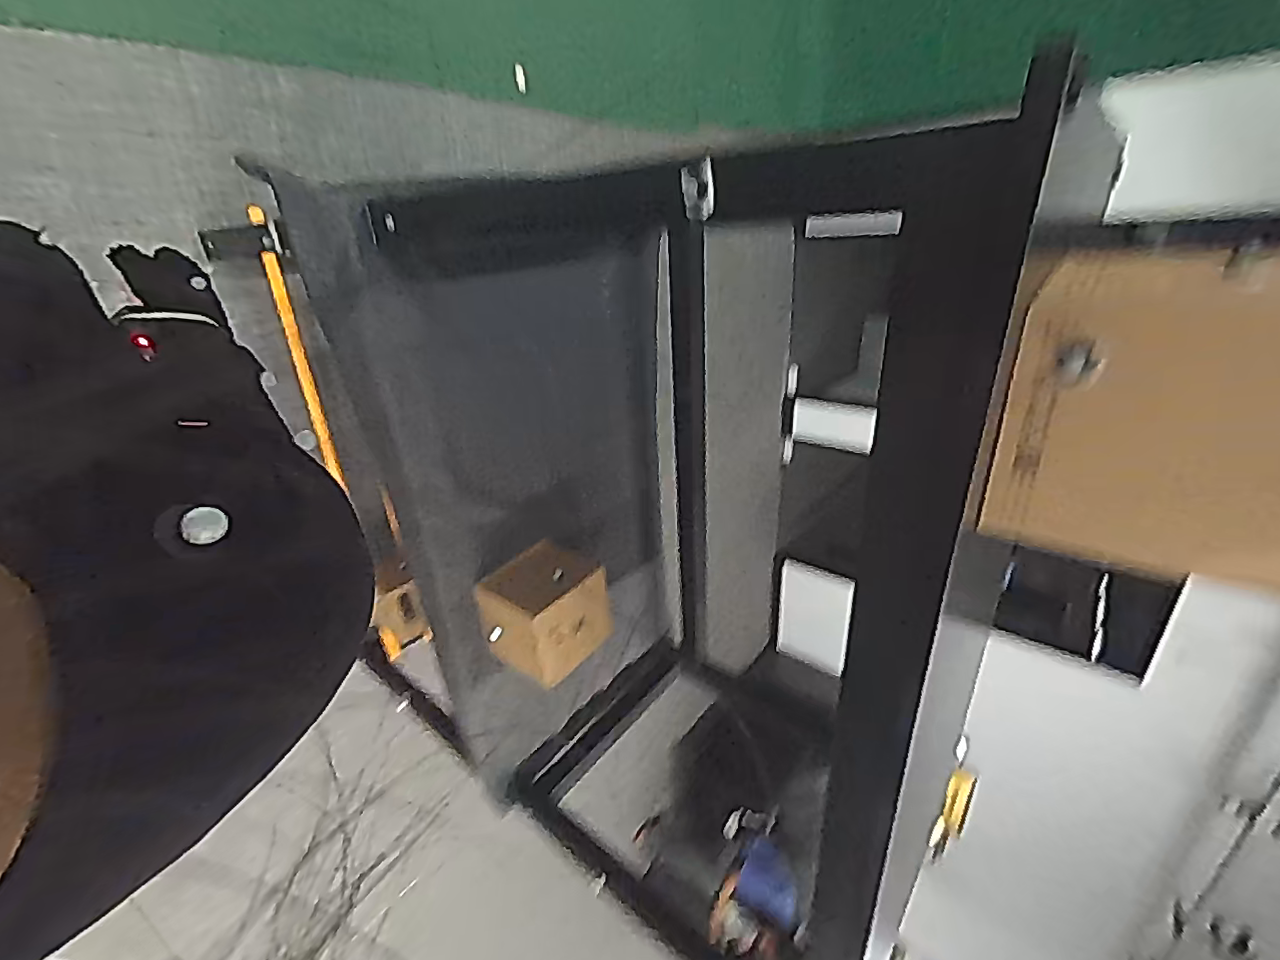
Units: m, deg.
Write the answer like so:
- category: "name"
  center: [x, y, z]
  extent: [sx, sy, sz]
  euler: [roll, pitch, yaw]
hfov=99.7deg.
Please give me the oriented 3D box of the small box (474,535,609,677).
- category: "small box"
  center: [-0.183, 0.227, 1.028]
  extent: [0.179, 0.176, 0.168]
  euler: [-33, 127, -42]

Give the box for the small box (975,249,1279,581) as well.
- category: "small box"
  center: [0.359, -0.063, 0.384]
  extent: [0.179, 0.176, 0.168]
  euler: [-35, 130, -41]
